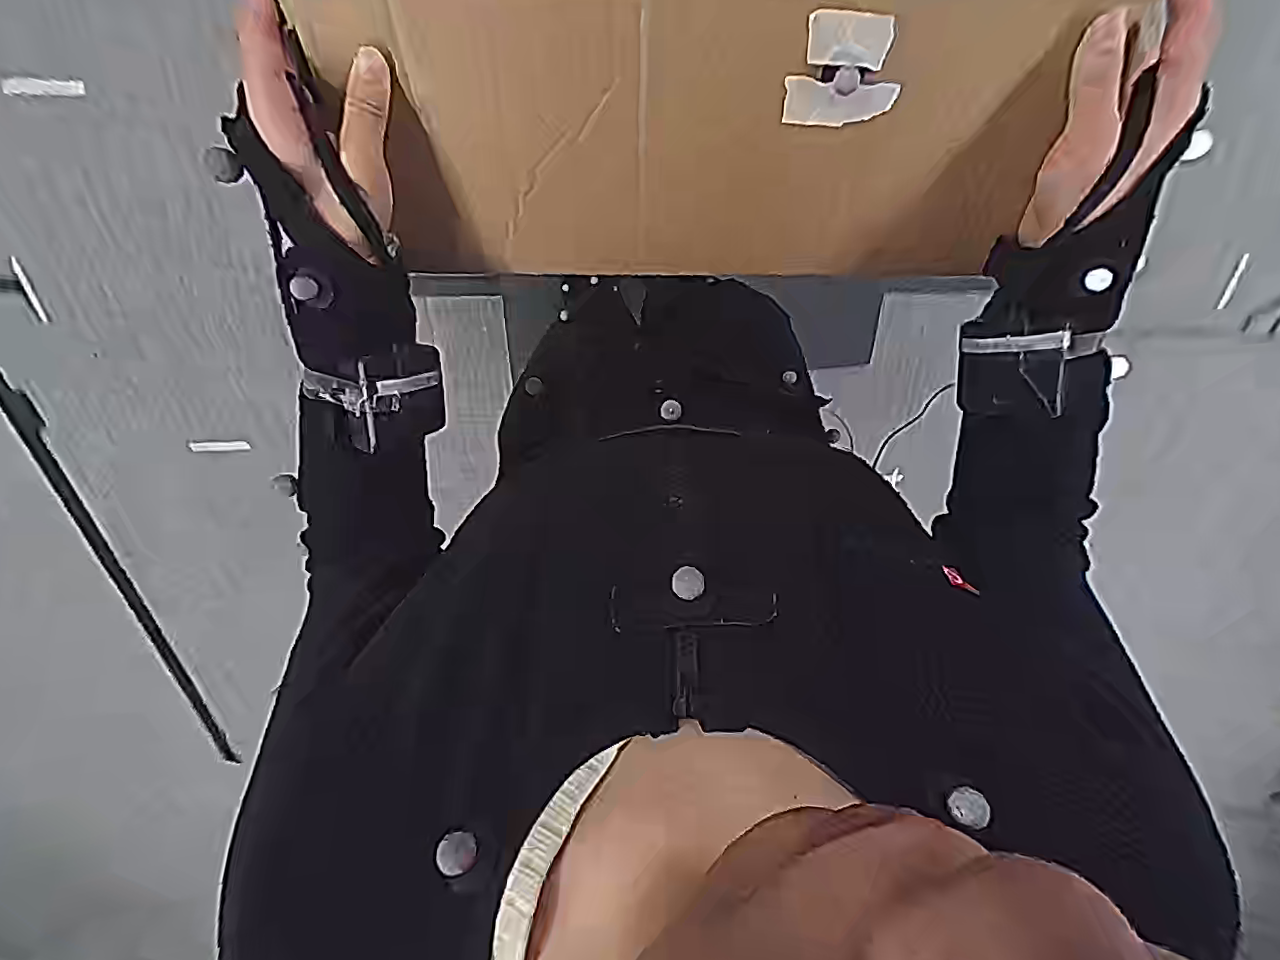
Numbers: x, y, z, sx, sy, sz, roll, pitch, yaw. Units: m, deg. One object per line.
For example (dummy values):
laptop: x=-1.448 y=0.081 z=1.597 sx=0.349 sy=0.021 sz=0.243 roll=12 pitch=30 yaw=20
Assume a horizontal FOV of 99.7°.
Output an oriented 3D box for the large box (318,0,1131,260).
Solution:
large box: x=0.039 y=-0.361 z=0.345 sx=0.408 sy=0.320 sz=0.320 roll=0 pitch=140 yaw=-2
